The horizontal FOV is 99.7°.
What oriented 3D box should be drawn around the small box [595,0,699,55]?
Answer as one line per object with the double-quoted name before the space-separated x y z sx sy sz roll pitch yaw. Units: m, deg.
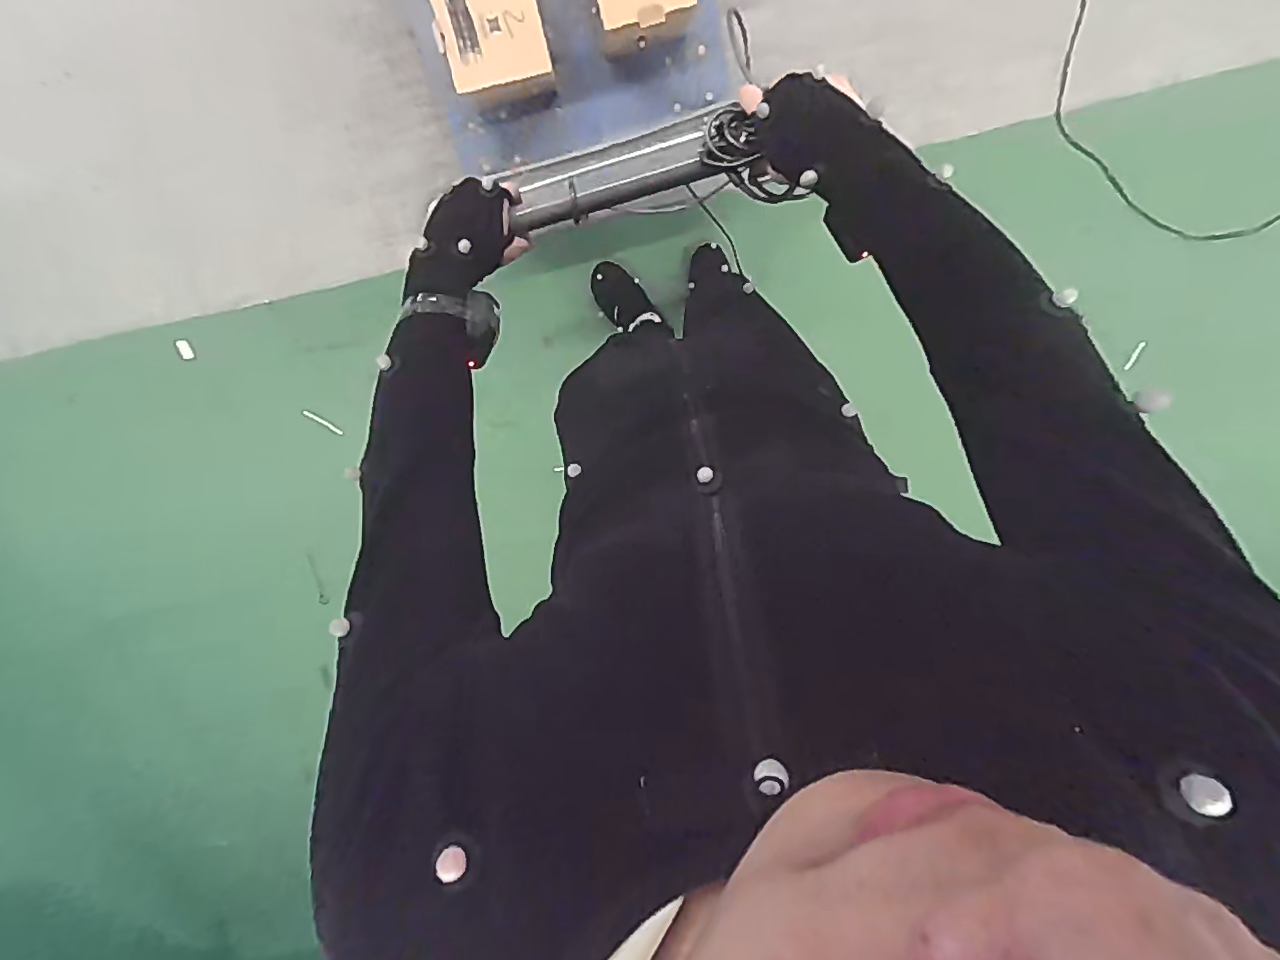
"small box" -0.003 -0.895 0.955 0.168 0.176 0.179 -14 118 4
